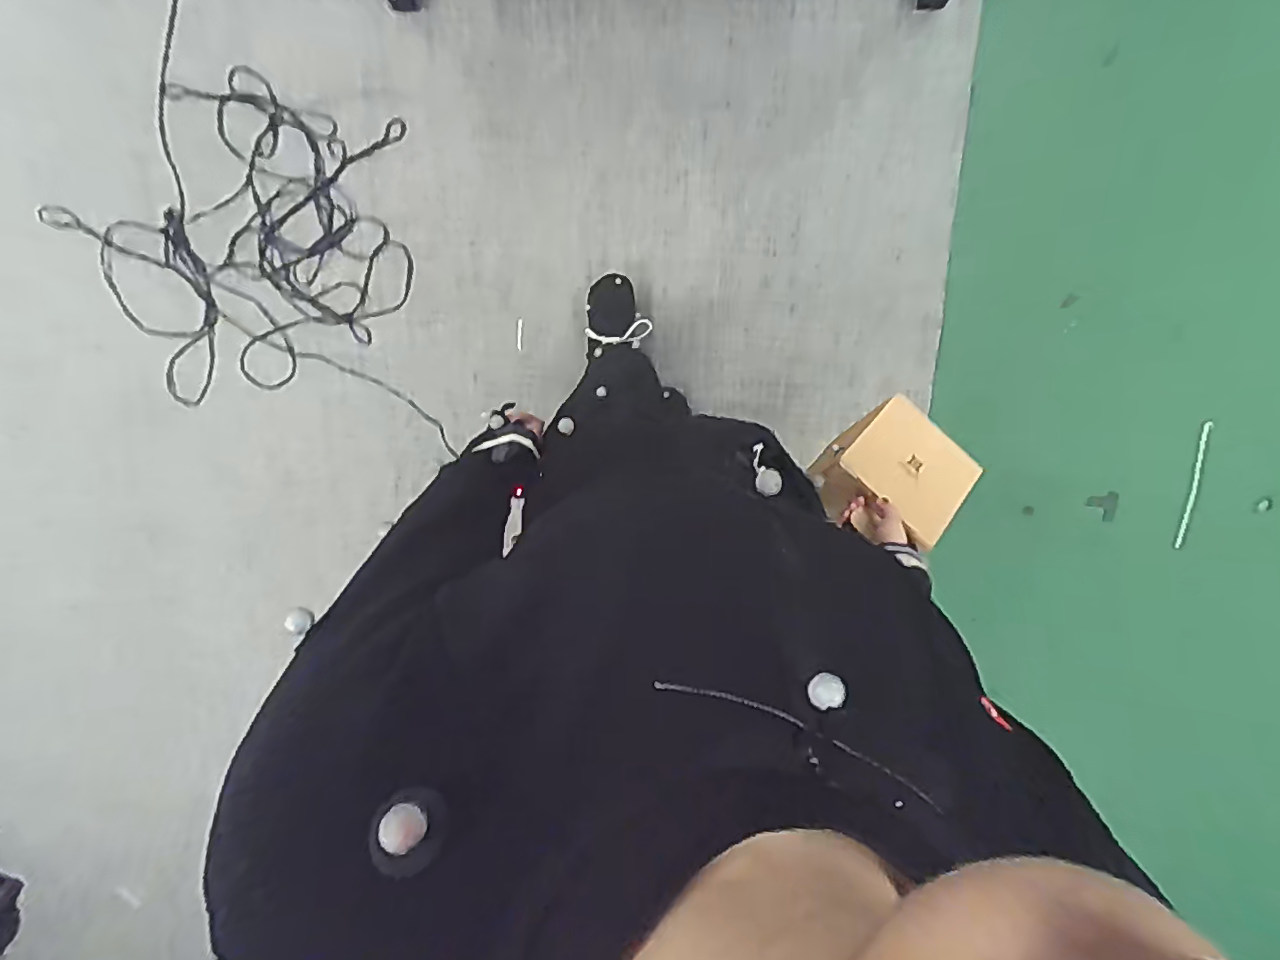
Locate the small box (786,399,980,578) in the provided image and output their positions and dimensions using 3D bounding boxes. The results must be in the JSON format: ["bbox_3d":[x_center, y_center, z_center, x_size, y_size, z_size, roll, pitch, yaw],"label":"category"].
[{"bbox_3d":[0.351,0.019,0.807,0.168,0.176,0.179,45,62,5],"label":"small box"}]
